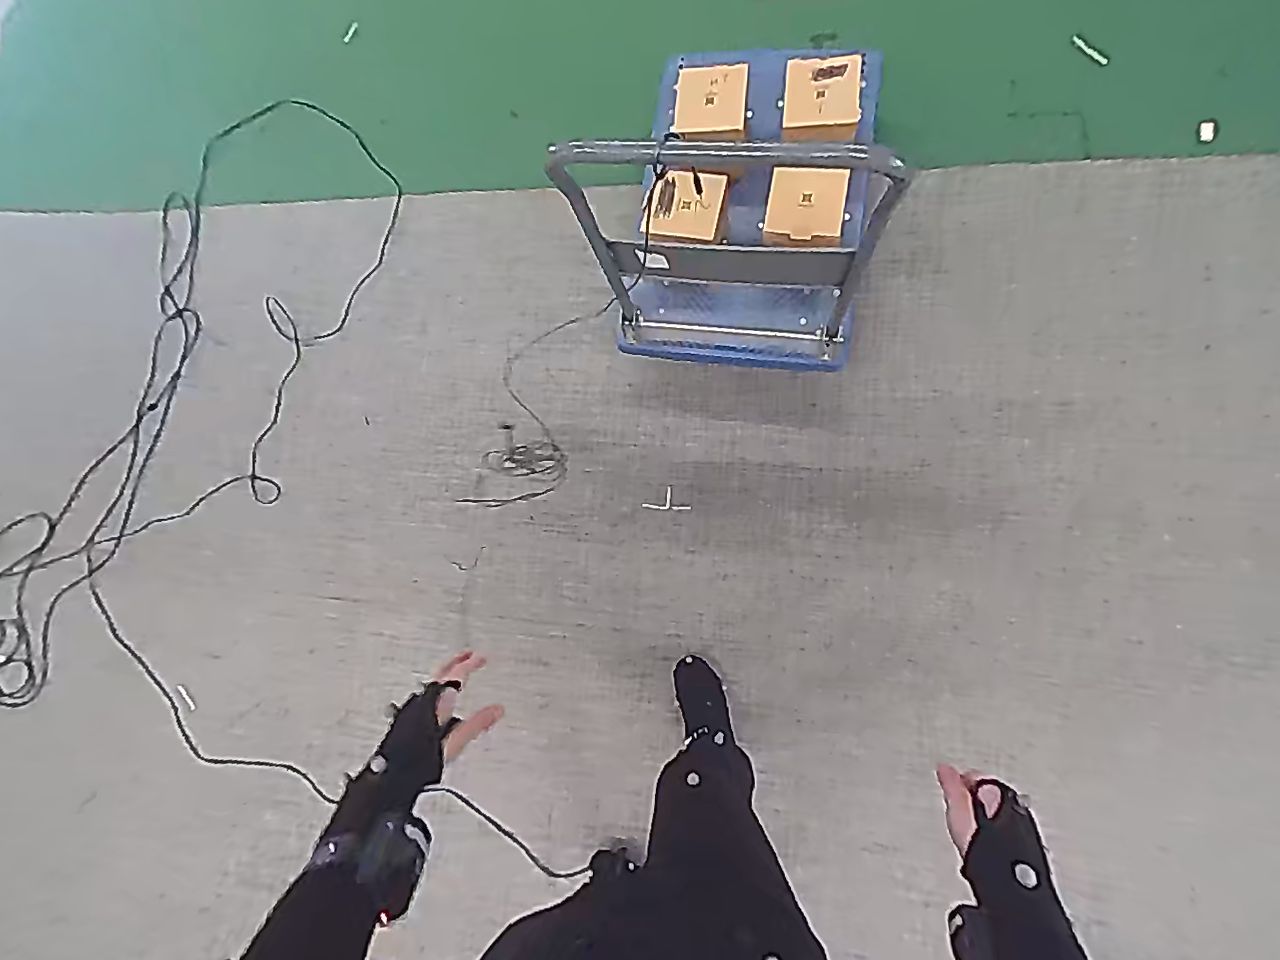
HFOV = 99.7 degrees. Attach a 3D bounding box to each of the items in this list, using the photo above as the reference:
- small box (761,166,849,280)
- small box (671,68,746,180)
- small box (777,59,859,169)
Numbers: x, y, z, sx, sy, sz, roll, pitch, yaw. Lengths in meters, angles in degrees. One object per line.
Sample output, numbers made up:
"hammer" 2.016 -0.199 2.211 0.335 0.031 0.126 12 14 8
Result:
"small box" 0.379 -0.599 1.270 0.168 0.176 0.179 9 83 12
"small box" 0.177 -0.880 1.356 0.168 0.176 0.179 4 81 11
"small box" 0.424 -0.863 1.306 0.168 0.176 0.179 4 82 12
